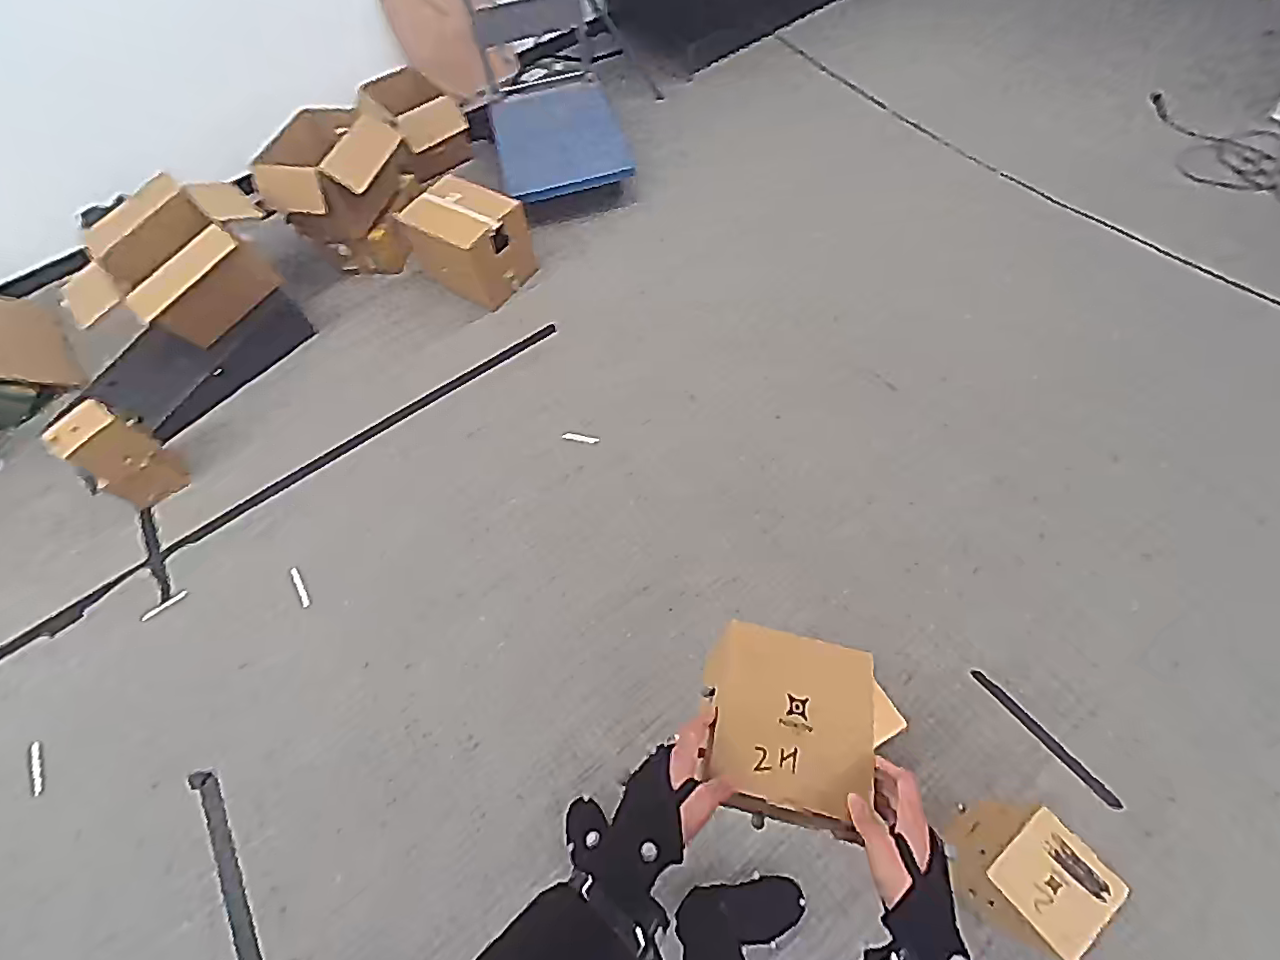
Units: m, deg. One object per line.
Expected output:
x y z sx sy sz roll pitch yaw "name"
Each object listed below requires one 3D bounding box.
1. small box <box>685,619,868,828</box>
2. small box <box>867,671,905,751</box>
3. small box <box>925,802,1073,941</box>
0.154 0.292 0.641 0.168 0.176 0.179 13 57 4 "small box"
0.509 0.574 1.339 0.168 0.176 0.179 -28 61 -9 "small box"
0.759 0.830 1.167 0.168 0.176 0.179 -36 64 -13 "small box"
